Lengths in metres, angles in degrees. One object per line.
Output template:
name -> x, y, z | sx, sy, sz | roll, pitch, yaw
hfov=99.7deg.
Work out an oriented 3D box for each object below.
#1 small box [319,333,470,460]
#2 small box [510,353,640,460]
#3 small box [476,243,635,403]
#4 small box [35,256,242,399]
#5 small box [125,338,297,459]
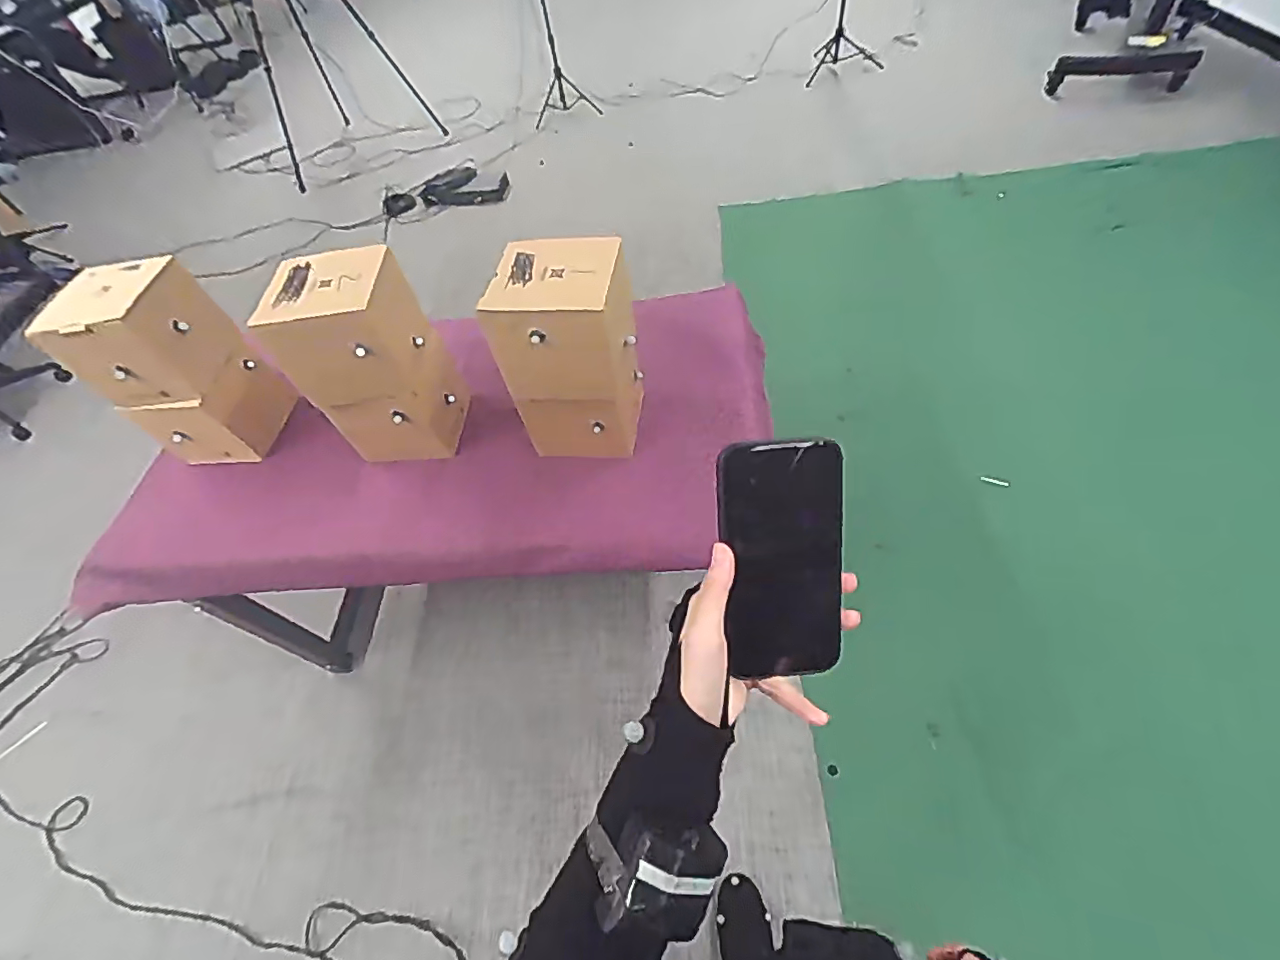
small box -> -0.438, -0.149, 1.002 | 0.179, 0.176, 0.168 | -2, 54, 7
small box -> -0.101, -0.149, 0.952 | 0.179, 0.176, 0.168 | 3, 55, 11
small box -> -0.113, -0.231, 0.810 | 0.179, 0.176, 0.168 | 3, 55, 10
small box -> -0.844, -0.254, 0.936 | 0.168, 0.176, 0.179 | -5, 55, 4
small box -> -0.824, -0.153, 1.064 | 0.168, 0.176, 0.179 | -1, 54, 8
